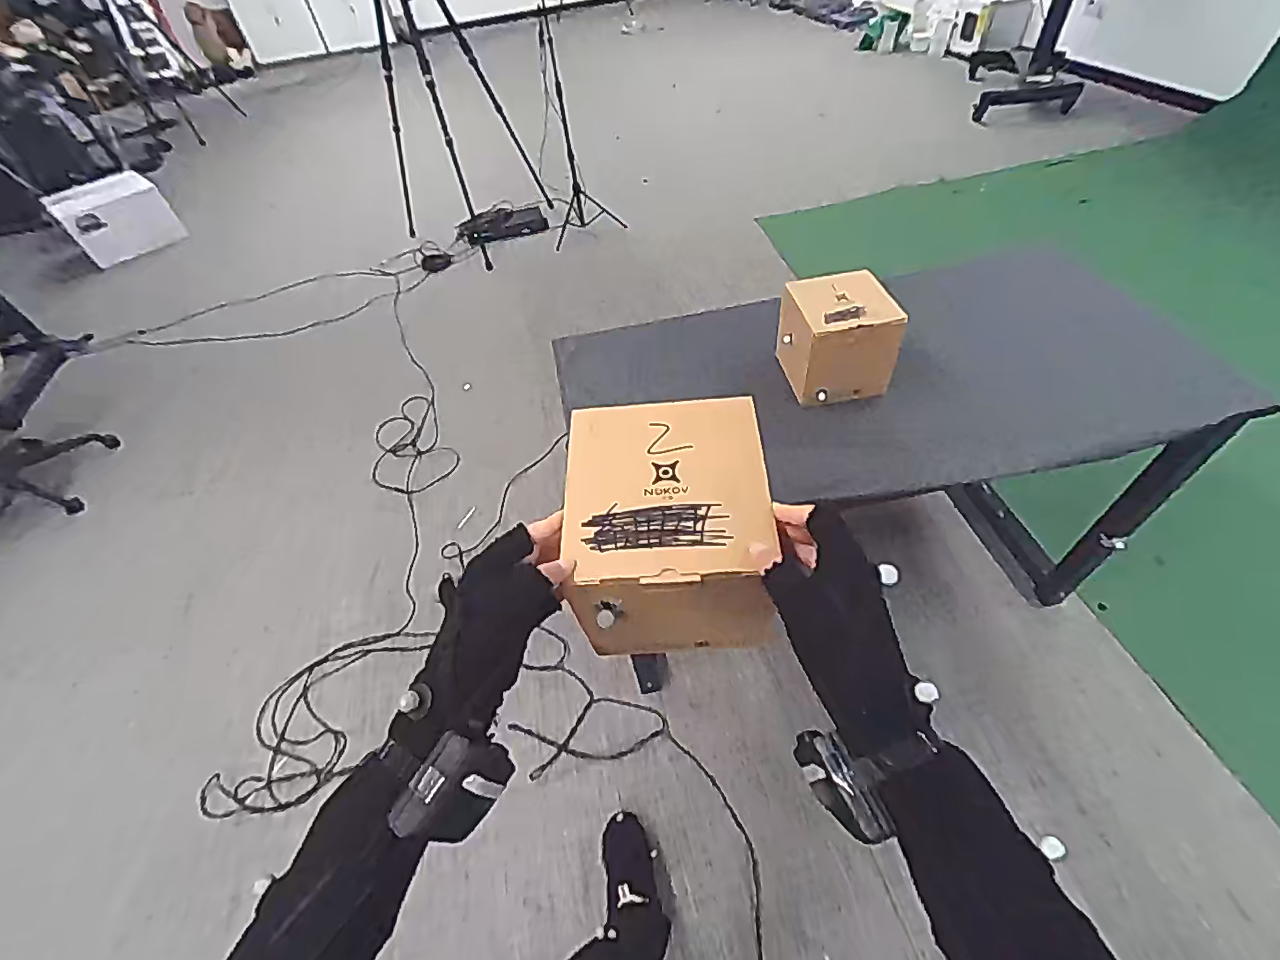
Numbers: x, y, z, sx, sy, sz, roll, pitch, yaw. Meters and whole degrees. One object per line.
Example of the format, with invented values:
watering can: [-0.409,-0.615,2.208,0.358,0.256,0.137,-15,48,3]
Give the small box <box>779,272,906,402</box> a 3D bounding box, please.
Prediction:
small box: [0.371,-0.264,1.027,0.168,0.176,0.179,-9,48,0]
